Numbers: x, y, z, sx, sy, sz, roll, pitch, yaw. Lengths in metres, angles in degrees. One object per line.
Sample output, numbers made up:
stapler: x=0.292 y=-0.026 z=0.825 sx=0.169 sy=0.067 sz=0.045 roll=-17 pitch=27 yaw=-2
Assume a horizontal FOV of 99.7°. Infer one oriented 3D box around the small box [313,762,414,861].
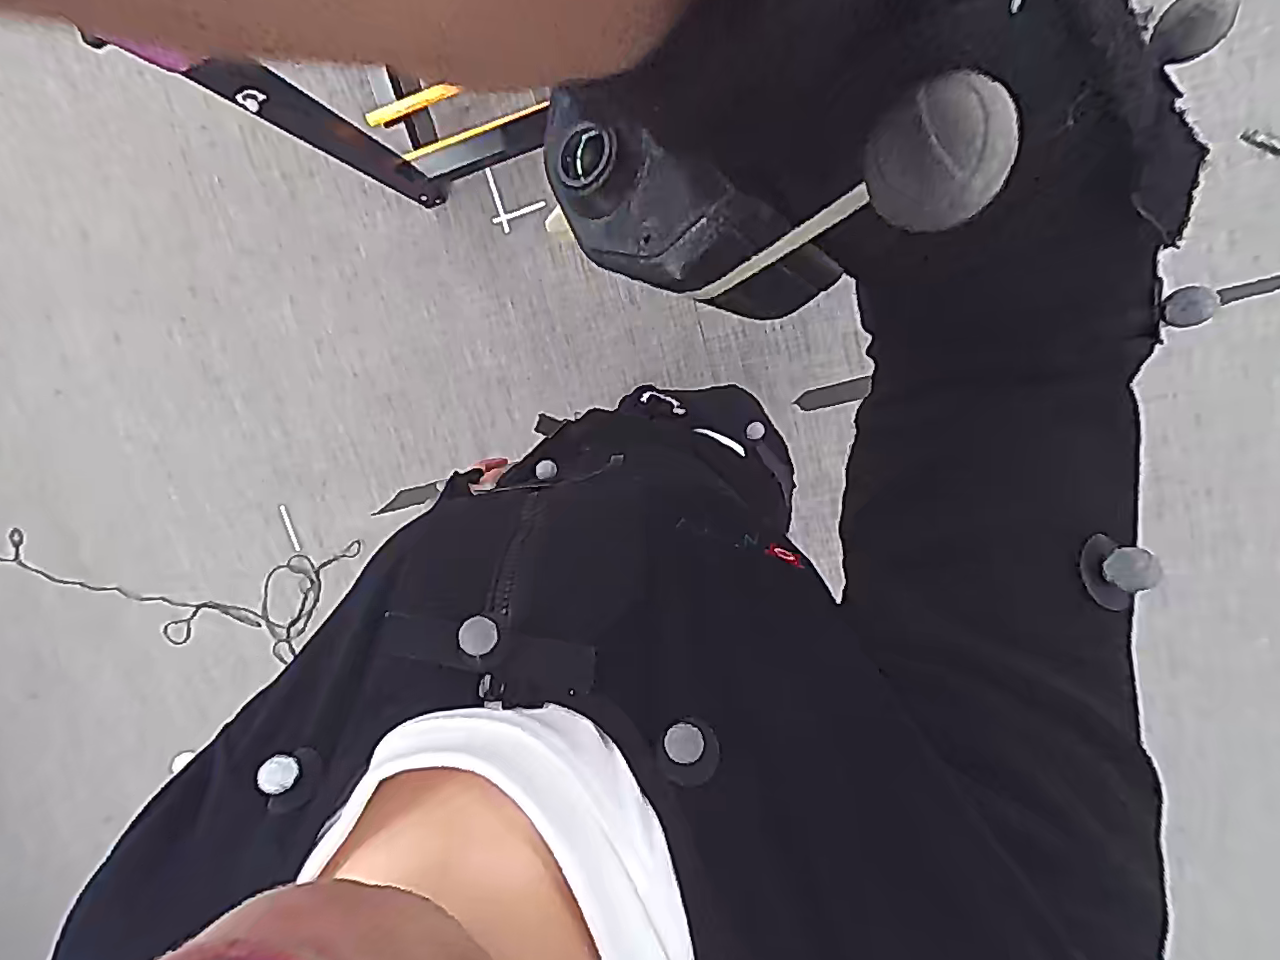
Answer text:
small box: x=-0.813 y=0.978 z=1.604 sx=0.179 sy=0.176 sz=0.168 roll=-20 pitch=98 yaw=11
